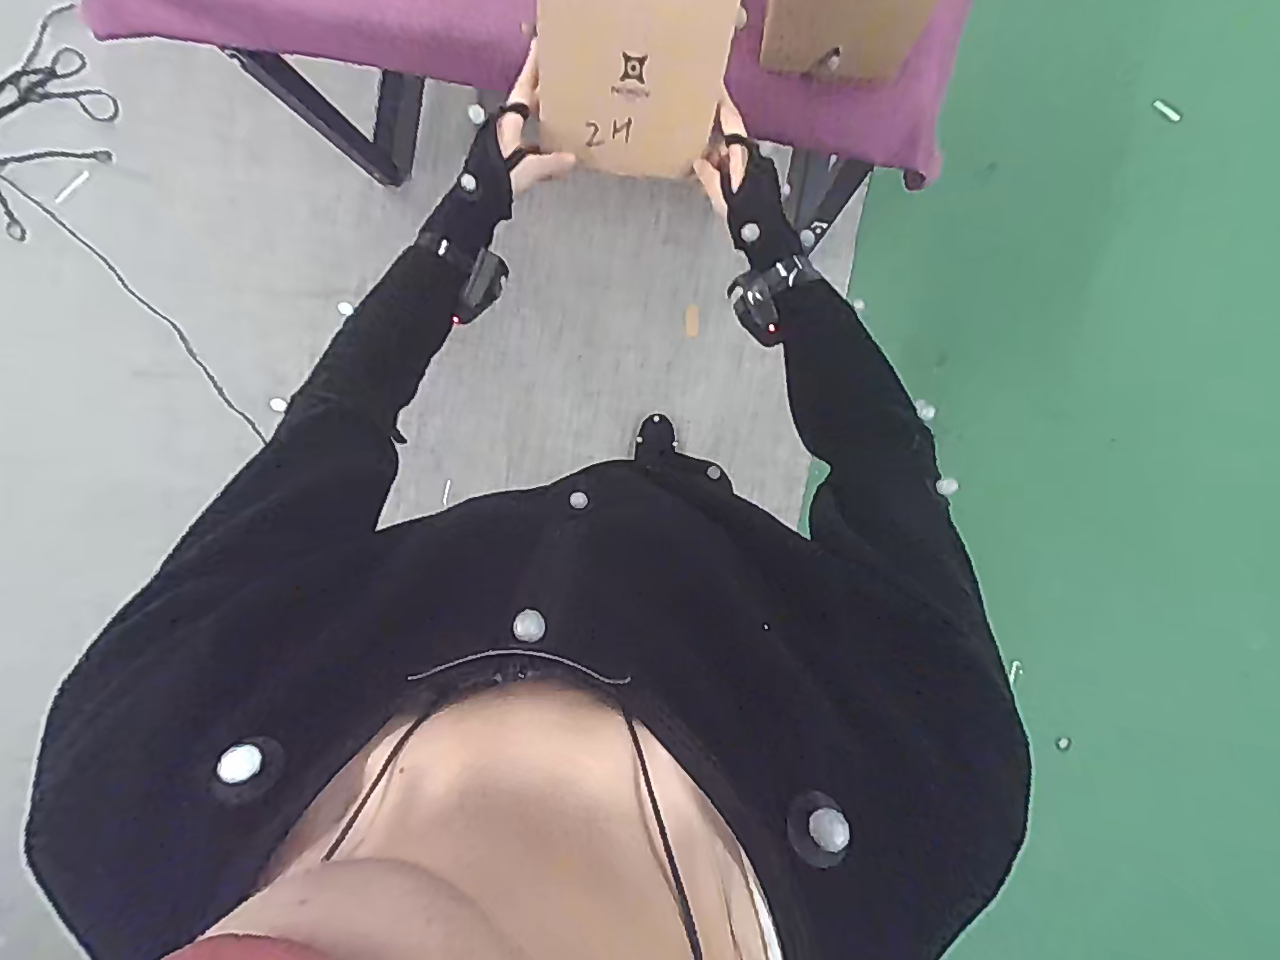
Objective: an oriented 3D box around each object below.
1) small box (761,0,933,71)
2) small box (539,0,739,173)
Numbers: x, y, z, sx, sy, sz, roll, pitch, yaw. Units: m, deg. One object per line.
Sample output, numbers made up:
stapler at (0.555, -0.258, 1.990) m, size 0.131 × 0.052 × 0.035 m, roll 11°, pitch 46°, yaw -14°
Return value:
small box at (0.250, -0.614, 0.622) m, size 0.179 × 0.176 × 0.168 m, roll 8°, pitch 94°, yaw 3°
small box at (-0.010, -0.435, 0.518) m, size 0.168 × 0.179 × 0.176 m, roll 3°, pitch 59°, yaw -7°
